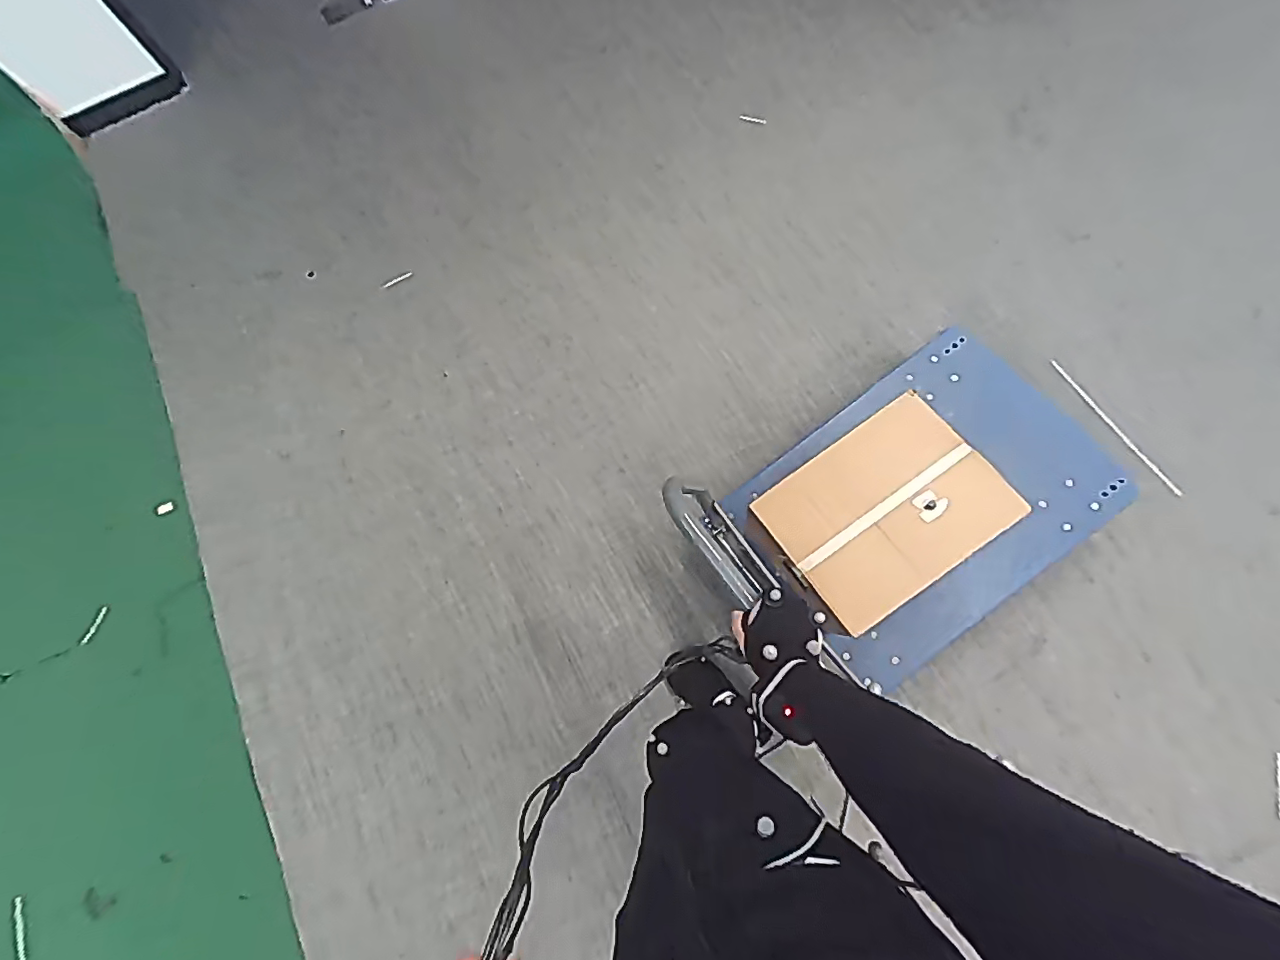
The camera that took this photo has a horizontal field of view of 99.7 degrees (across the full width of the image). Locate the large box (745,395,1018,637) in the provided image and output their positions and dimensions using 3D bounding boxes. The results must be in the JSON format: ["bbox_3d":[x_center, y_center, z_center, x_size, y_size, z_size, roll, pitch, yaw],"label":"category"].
[{"bbox_3d":[0.479,0.098,1.177,0.408,0.320,0.320,-35,73,-1],"label":"large box"}]
